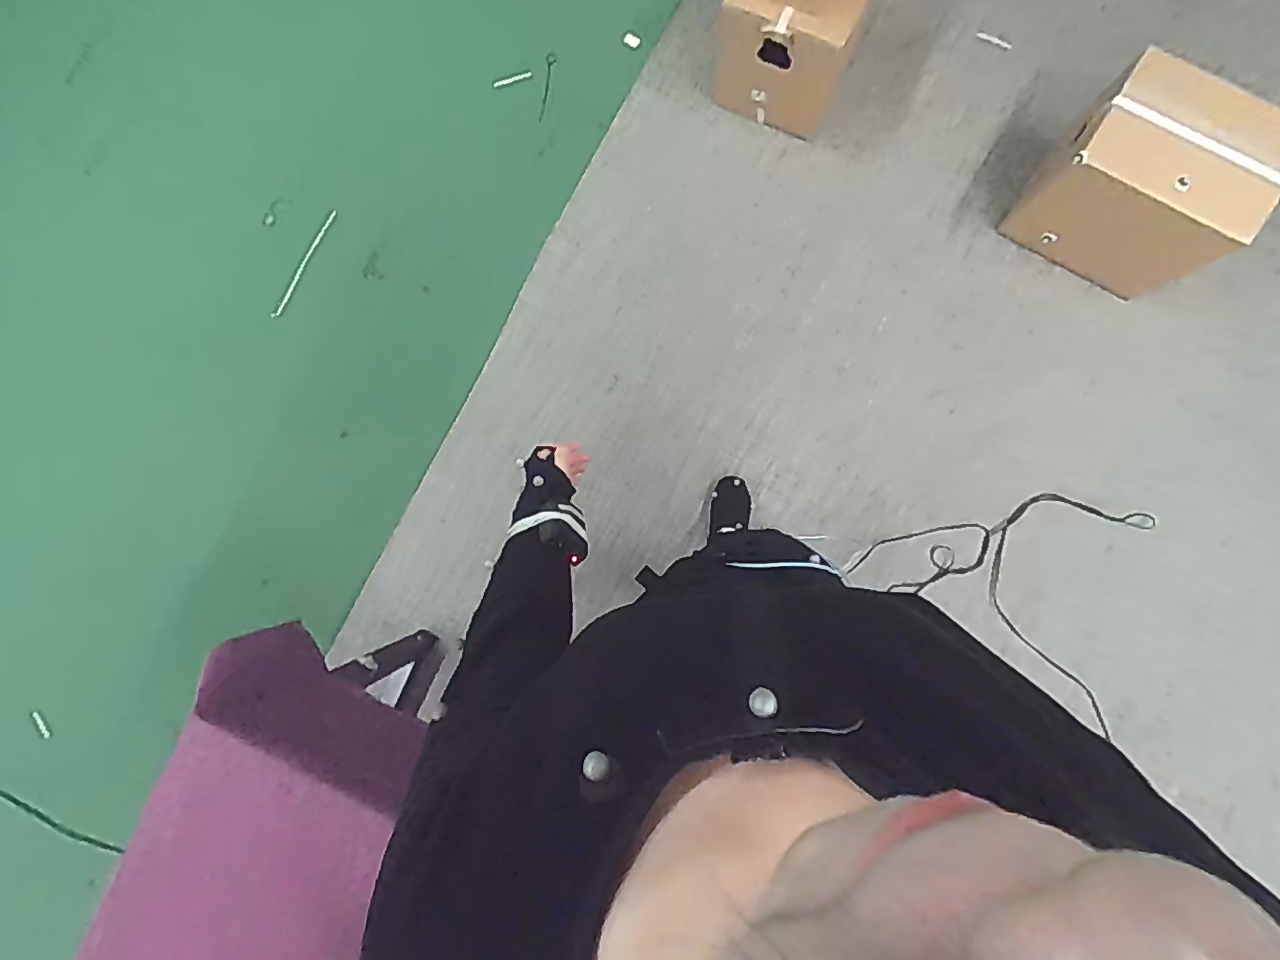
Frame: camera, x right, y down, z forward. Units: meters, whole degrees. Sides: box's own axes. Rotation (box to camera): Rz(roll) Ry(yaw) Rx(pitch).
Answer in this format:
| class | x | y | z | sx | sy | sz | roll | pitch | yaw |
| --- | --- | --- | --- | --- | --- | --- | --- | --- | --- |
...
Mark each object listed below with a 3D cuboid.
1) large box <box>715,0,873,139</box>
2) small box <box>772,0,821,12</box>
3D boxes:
| class | x | y | z | sx | sy | sz | roll | pitch | yaw |
| --- | --- | --- | --- | --- | --- | --- | --- | --- | --- |
| large box | 0.423 | -1.227 | 1.433 | 0.320 | 0.320 | 0.408 | 26 | 87 | 6 |
| small box | 0.358 | -1.192 | 1.188 | 0.179 | 0.176 | 0.168 | 25 | 87 | 7 |
